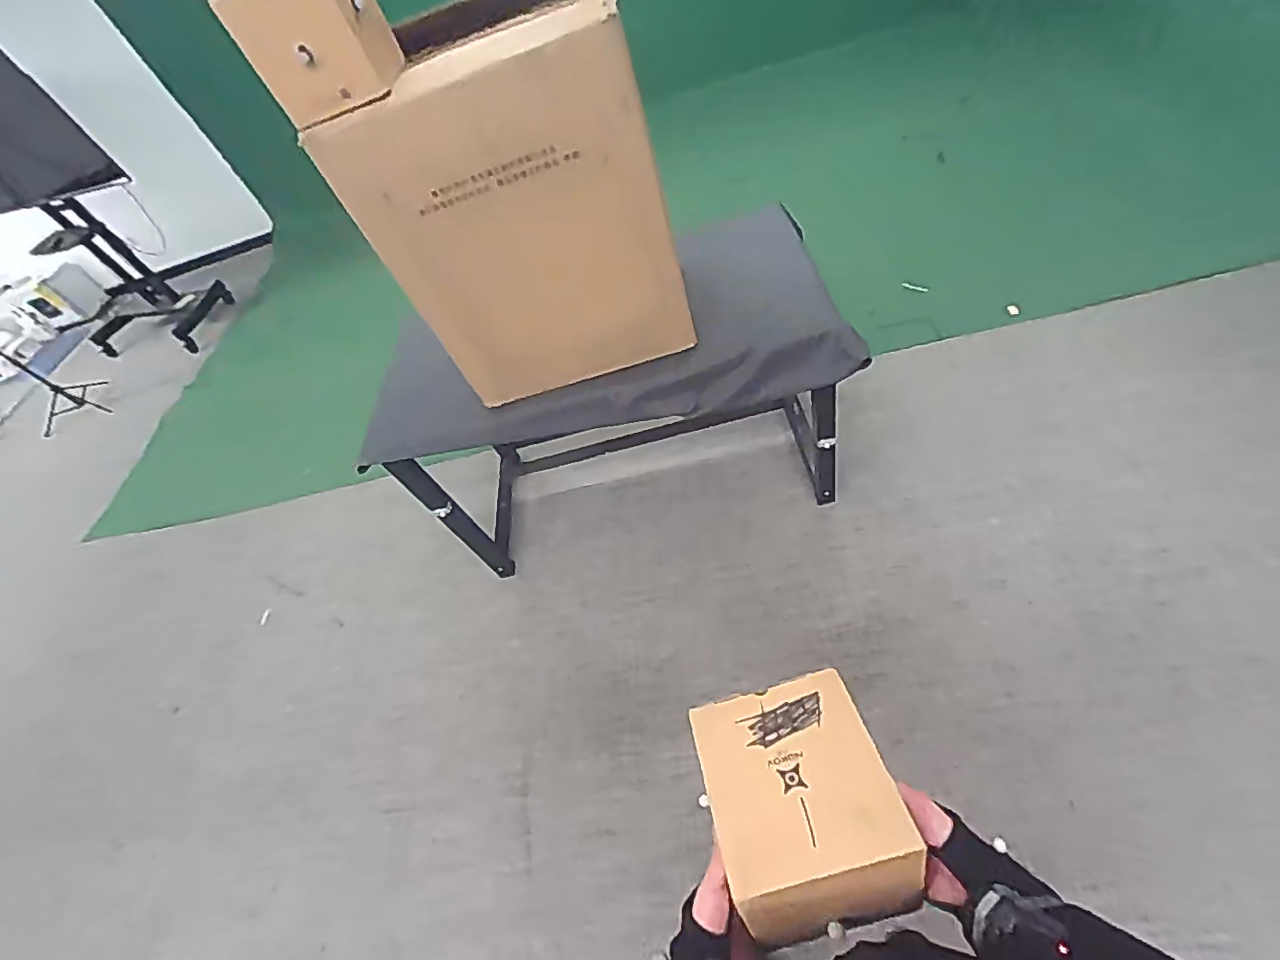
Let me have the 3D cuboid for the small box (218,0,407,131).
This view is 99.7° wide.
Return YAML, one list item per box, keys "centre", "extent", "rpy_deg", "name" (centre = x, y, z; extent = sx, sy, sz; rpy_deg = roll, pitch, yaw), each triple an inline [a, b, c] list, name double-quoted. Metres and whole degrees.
- centre: [-0.494, -0.681, 0.848]
  extent: [0.168, 0.176, 0.179]
  rpy_deg: [-14, 51, 9]
  name: "small box"
